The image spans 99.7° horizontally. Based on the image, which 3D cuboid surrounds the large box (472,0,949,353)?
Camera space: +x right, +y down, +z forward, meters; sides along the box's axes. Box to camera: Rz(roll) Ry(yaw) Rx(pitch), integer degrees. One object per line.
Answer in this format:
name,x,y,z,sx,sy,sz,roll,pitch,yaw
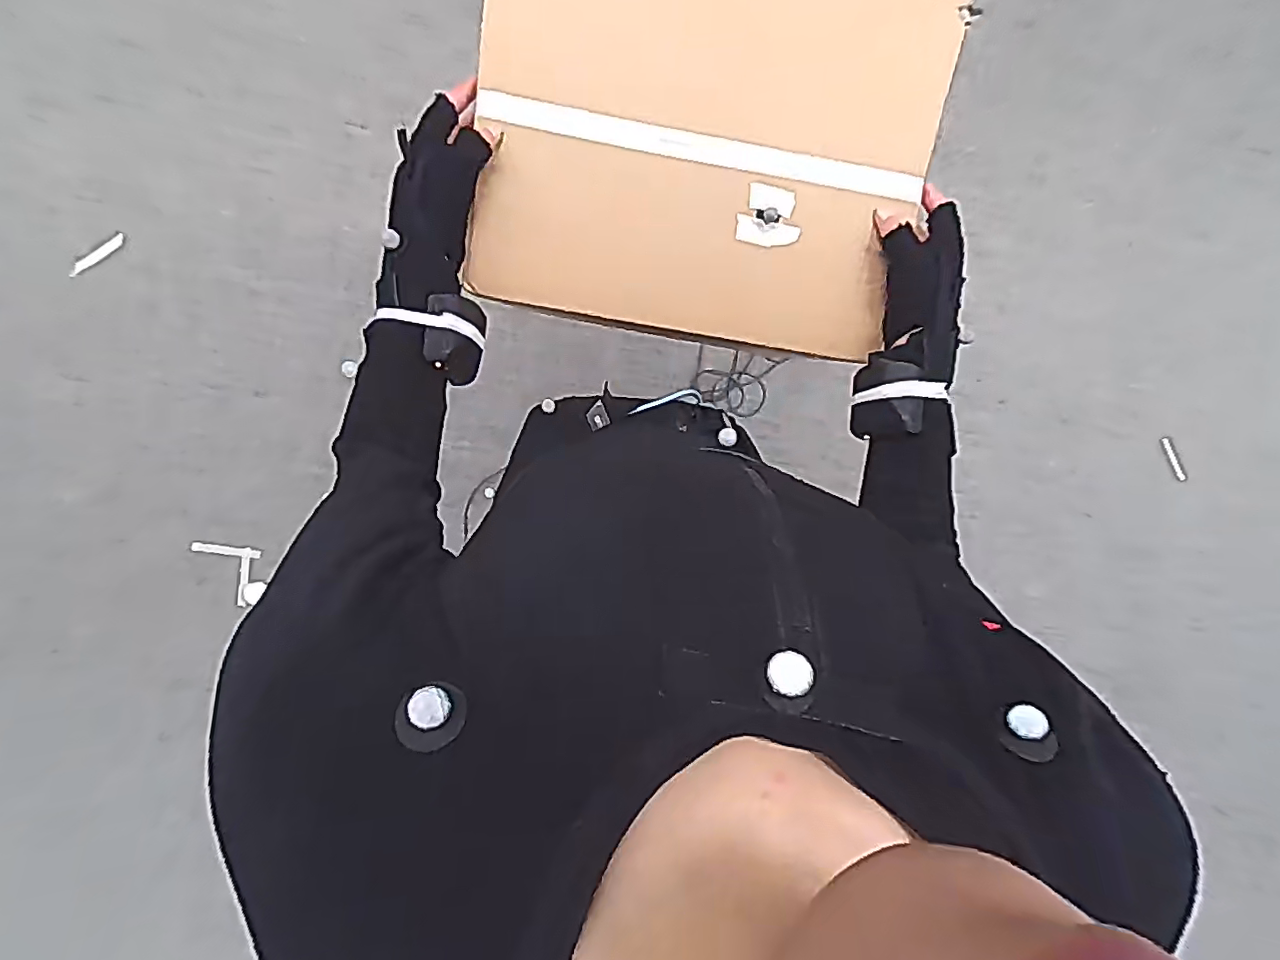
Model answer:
large box,0.048,-0.337,0.639,0.408,0.320,0.320,9,104,-5
